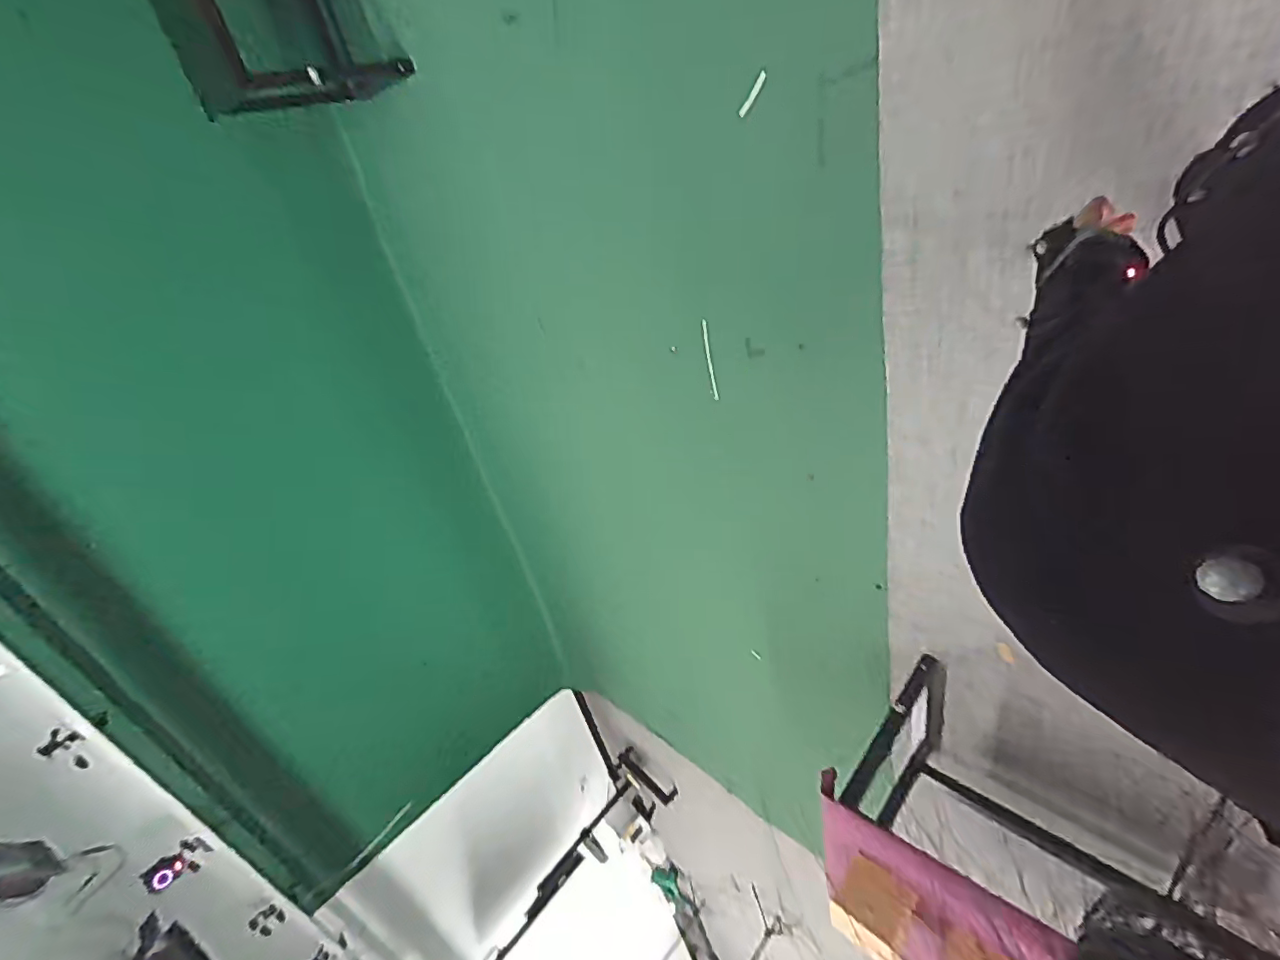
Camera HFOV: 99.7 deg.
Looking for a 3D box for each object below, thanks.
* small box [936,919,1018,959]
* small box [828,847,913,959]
[{"bbox_3d":[0.852,1.277,1.365,0.168,0.176,0.179,12,128,45],"label":"small box"},{"bbox_3d":[0.655,1.201,1.537,0.179,0.176,0.168,18,134,42],"label":"small box"}]
